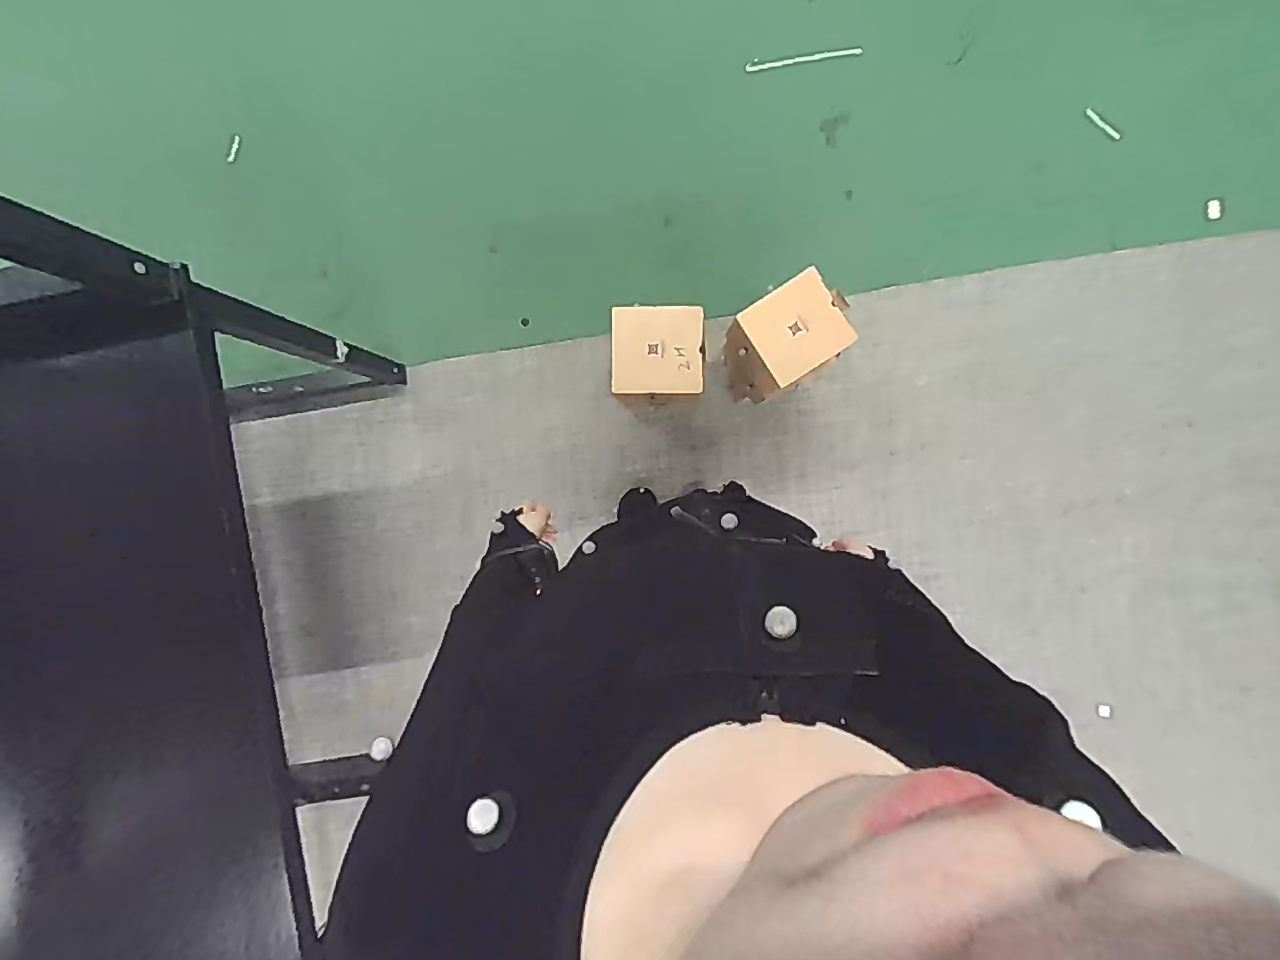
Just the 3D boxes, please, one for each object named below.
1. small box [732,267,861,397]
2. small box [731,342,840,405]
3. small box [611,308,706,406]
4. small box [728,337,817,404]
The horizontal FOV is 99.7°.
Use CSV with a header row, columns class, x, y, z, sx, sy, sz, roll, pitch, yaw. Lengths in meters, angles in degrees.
class,x,y,z,sx,sy,sz,roll,pitch,yaw
small box,0.298,-0.282,1.078,0.179,0.176,0.168,-33,91,2
small box,0.321,-0.285,1.241,0.179,0.176,0.168,-29,92,2
small box,0.039,-0.240,1.085,0.179,0.176,0.168,1,92,3
small box,0.333,-0.301,1.402,0.179,0.176,0.168,-16,91,2
